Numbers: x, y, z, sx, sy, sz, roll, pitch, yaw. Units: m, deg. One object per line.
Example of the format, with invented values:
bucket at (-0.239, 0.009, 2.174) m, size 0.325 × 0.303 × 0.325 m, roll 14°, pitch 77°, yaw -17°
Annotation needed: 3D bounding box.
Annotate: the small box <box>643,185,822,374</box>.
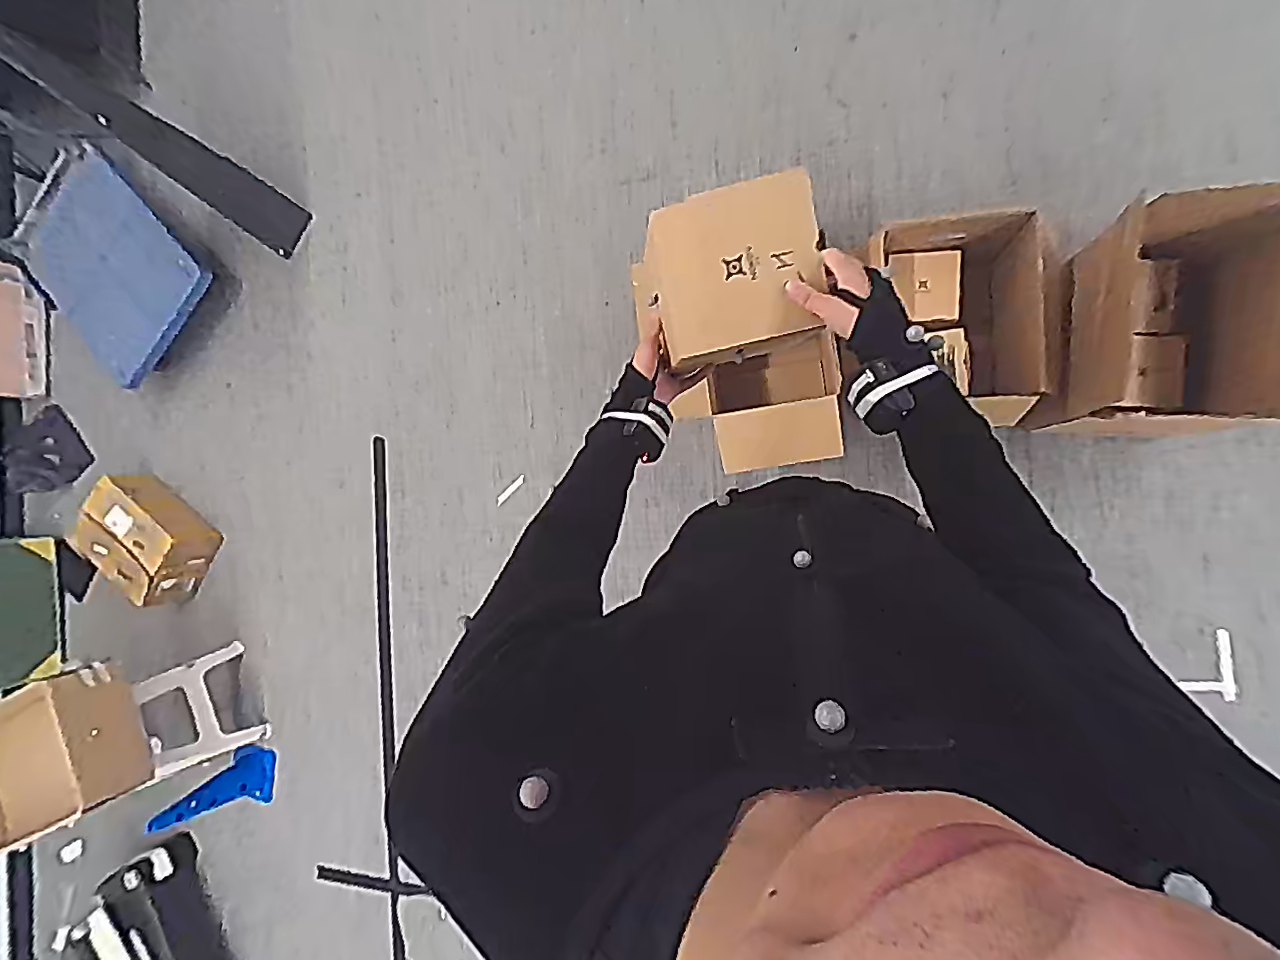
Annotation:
small box at (0.102, -0.236, 0.680) m, size 0.179 × 0.176 × 0.168 m, roll -13°, pitch 96°, yaw -2°
